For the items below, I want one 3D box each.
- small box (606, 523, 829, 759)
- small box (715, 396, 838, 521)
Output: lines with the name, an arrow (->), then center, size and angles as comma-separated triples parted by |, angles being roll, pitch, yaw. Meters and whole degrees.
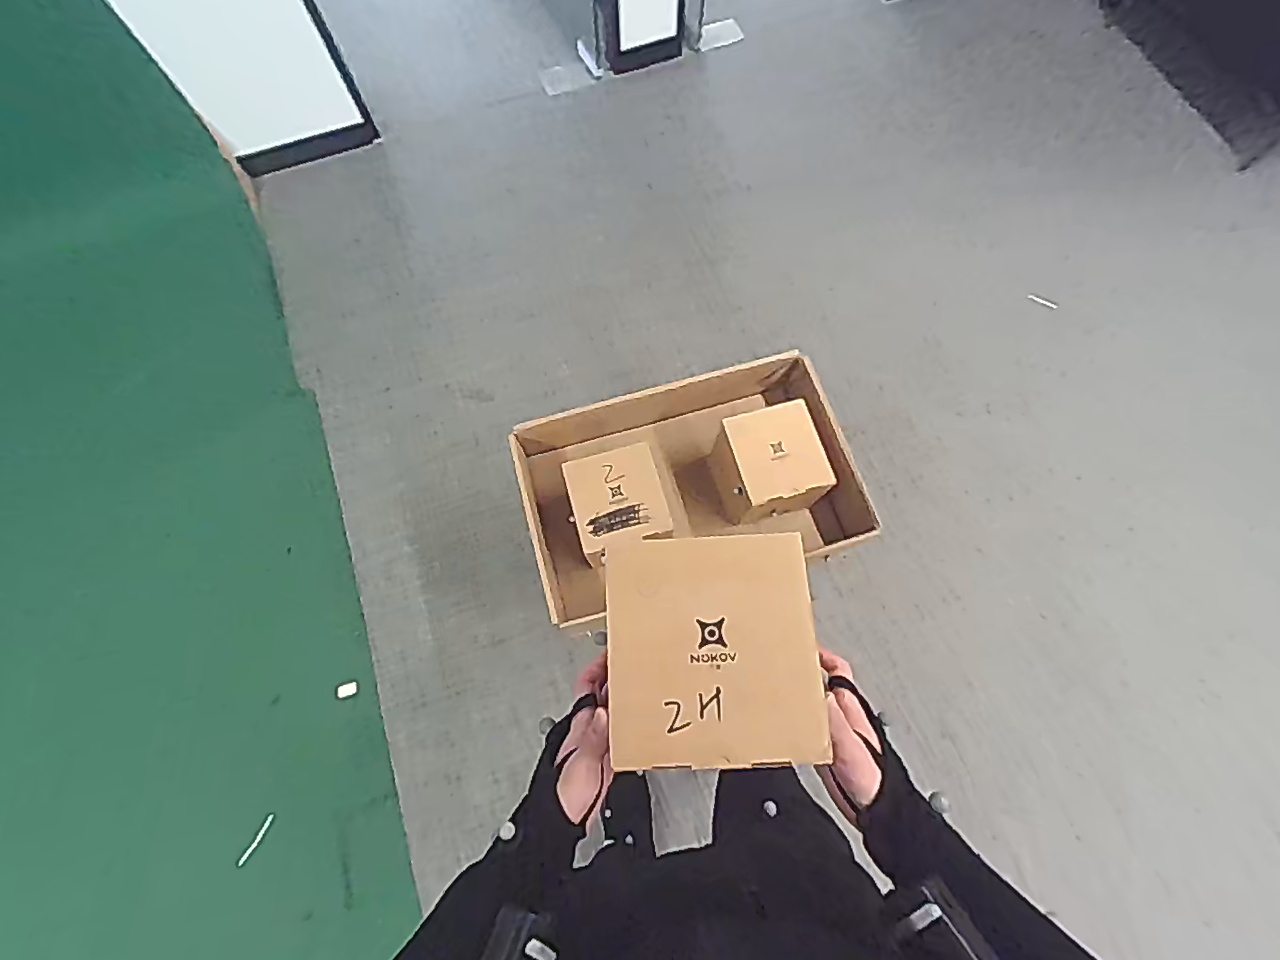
small box -> 0.059, 0.148, 0.500 | 0.168, 0.176, 0.179 | -4, 71, 3
small box -> 0.255, -0.037, 1.063 | 0.168, 0.176, 0.179 | -16, 74, -4
